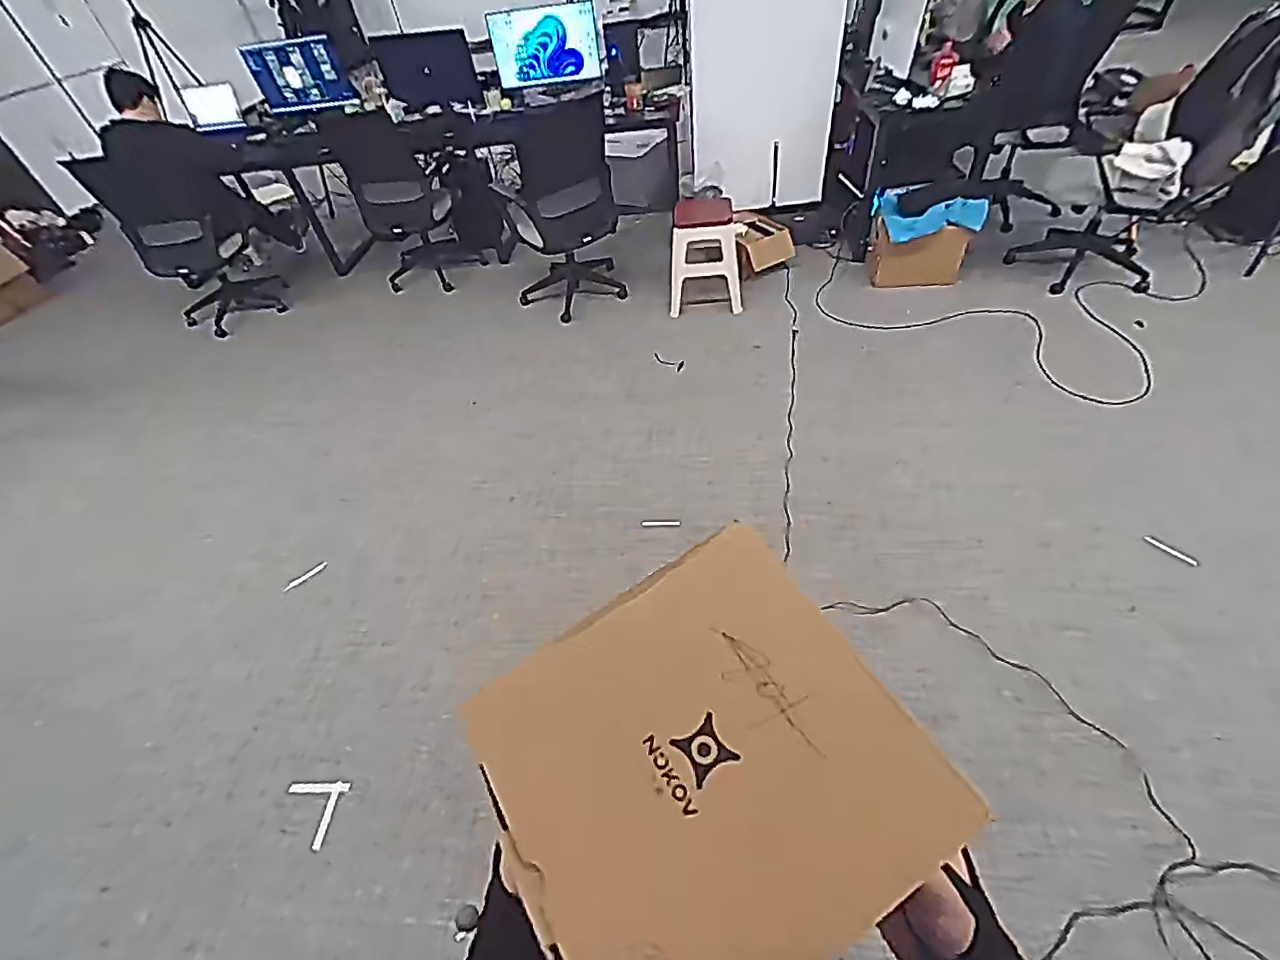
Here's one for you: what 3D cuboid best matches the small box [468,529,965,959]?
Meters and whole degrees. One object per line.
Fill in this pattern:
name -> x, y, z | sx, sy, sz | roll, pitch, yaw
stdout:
small box -> 0.036, 0.167, 0.319 | 0.179, 0.176, 0.168 | -33, 61, -11
